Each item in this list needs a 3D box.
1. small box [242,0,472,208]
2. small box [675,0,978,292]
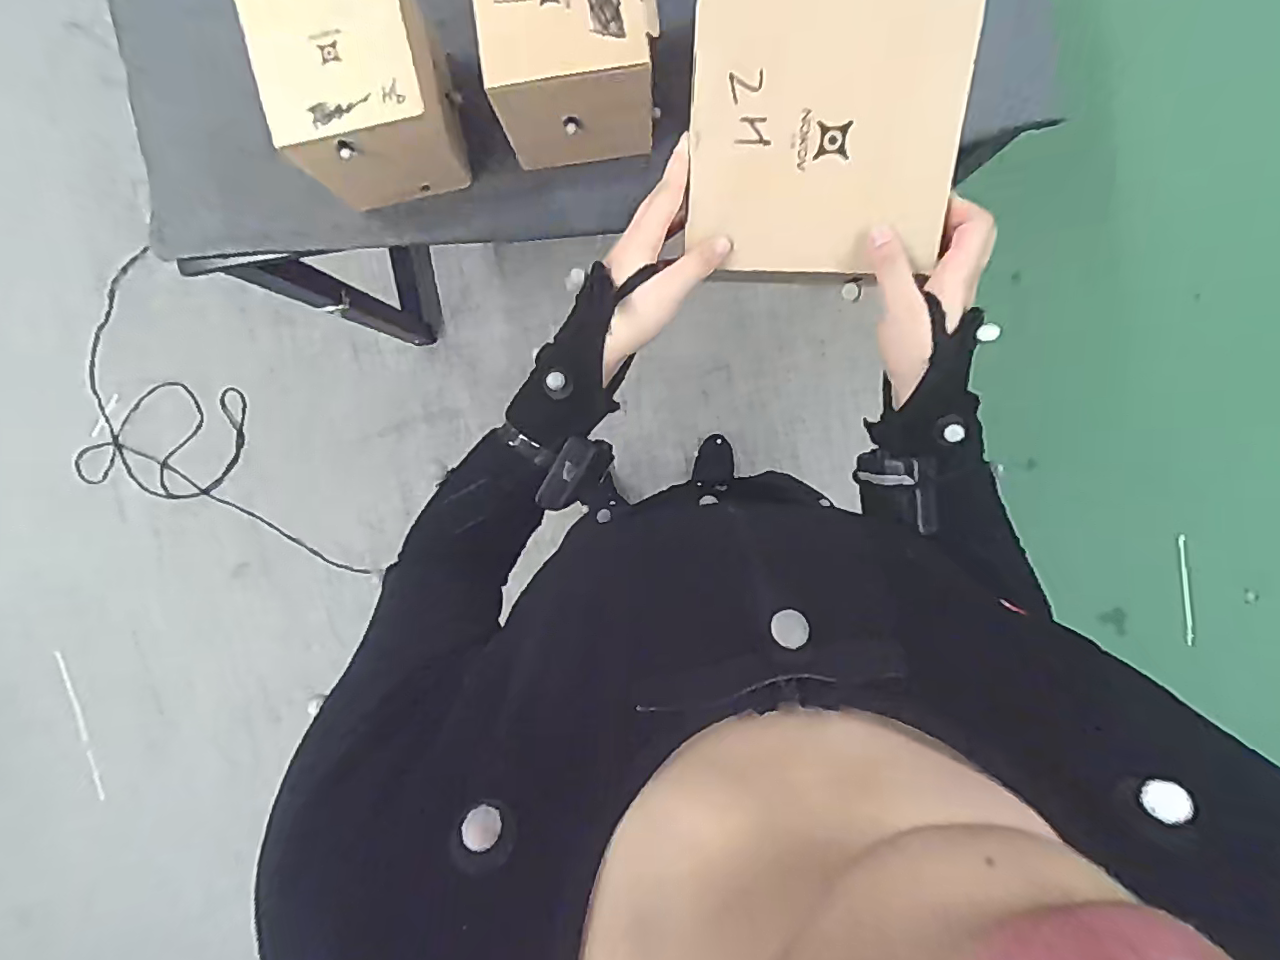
[{"bbox_3d":[-0.317,-0.456,0.636,0.168,0.176,0.179,-11,94,3],"label":"small box"},{"bbox_3d":[0.127,-0.244,0.433,0.179,0.176,0.168,5,107,9],"label":"small box"}]
